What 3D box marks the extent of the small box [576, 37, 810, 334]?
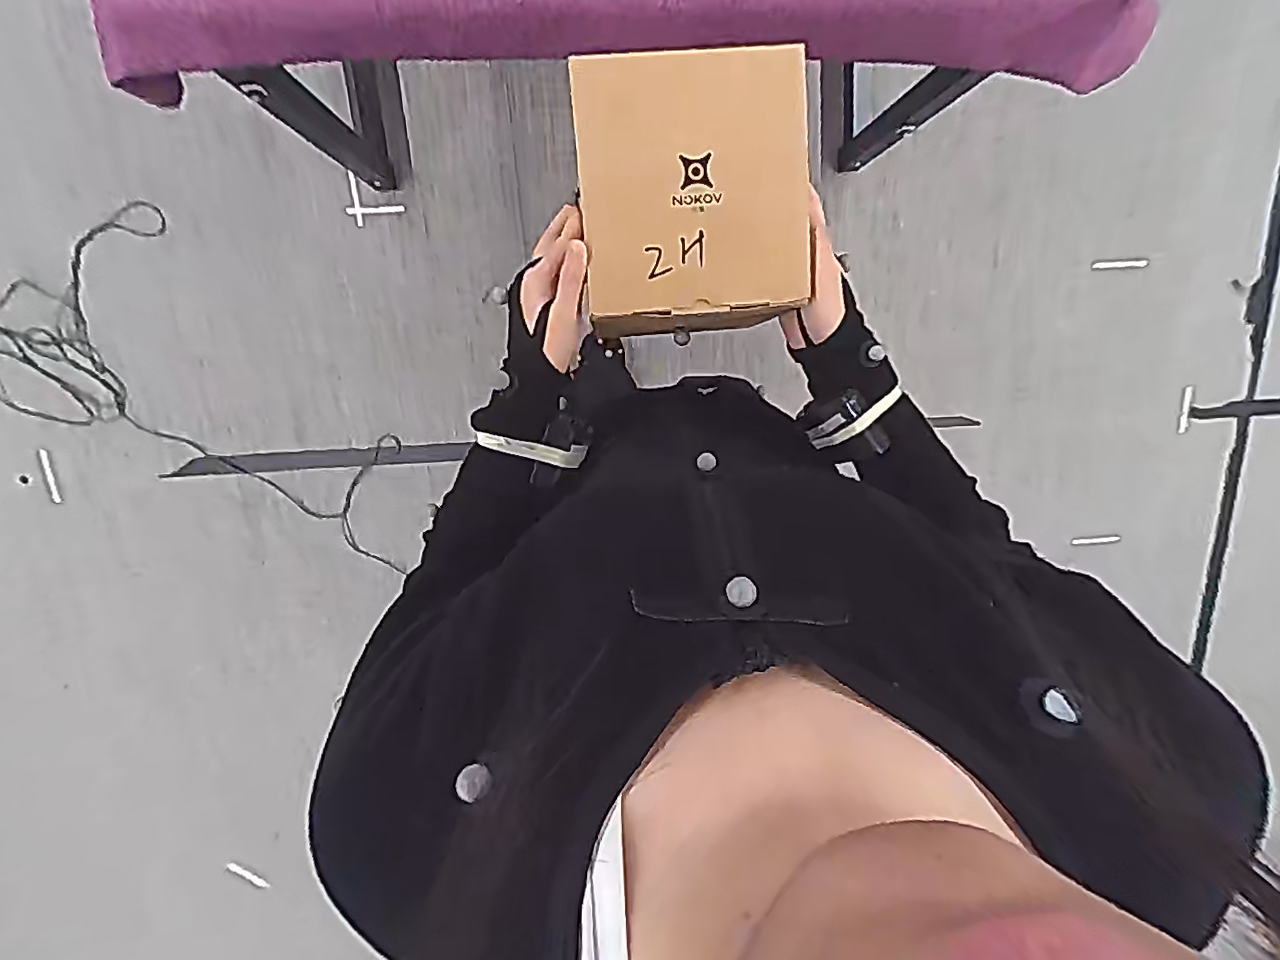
[{"bbox_3d":[0.036,-0.228,0.462,0.168,0.176,0.179,-4,99,-2],"label":"small box"}]
